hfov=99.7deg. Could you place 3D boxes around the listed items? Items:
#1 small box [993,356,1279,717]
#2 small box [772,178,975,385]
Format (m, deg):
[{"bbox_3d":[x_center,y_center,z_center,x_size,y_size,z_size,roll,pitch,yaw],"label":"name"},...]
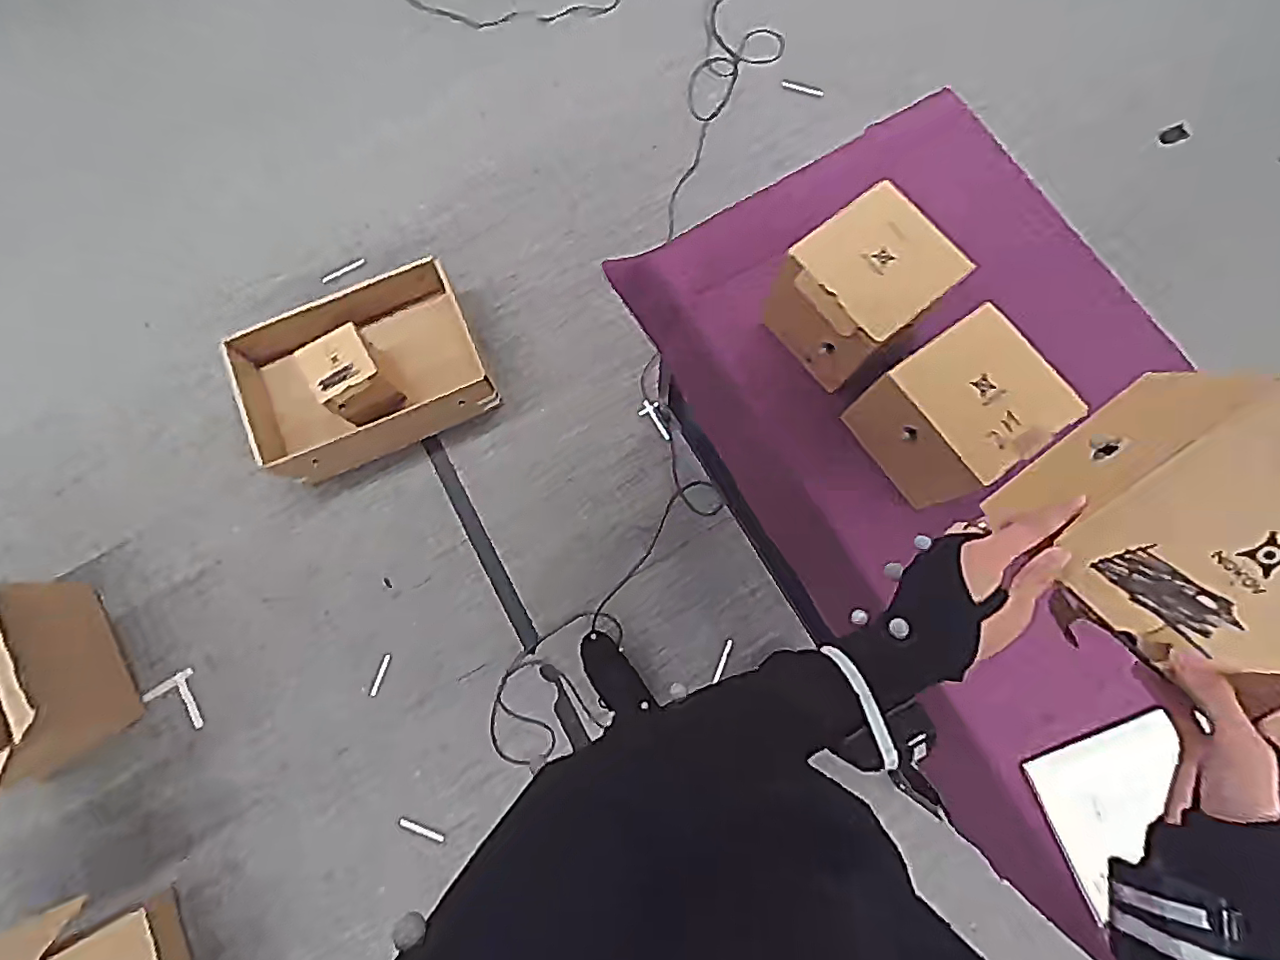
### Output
[{"bbox_3d":[0.405,0.029,0.407,0.168,0.176,0.179,44,112,8],"label":"small box"},{"bbox_3d":[0.304,-0.263,0.755,0.179,0.176,0.168,-38,81,-7],"label":"small box"}]
